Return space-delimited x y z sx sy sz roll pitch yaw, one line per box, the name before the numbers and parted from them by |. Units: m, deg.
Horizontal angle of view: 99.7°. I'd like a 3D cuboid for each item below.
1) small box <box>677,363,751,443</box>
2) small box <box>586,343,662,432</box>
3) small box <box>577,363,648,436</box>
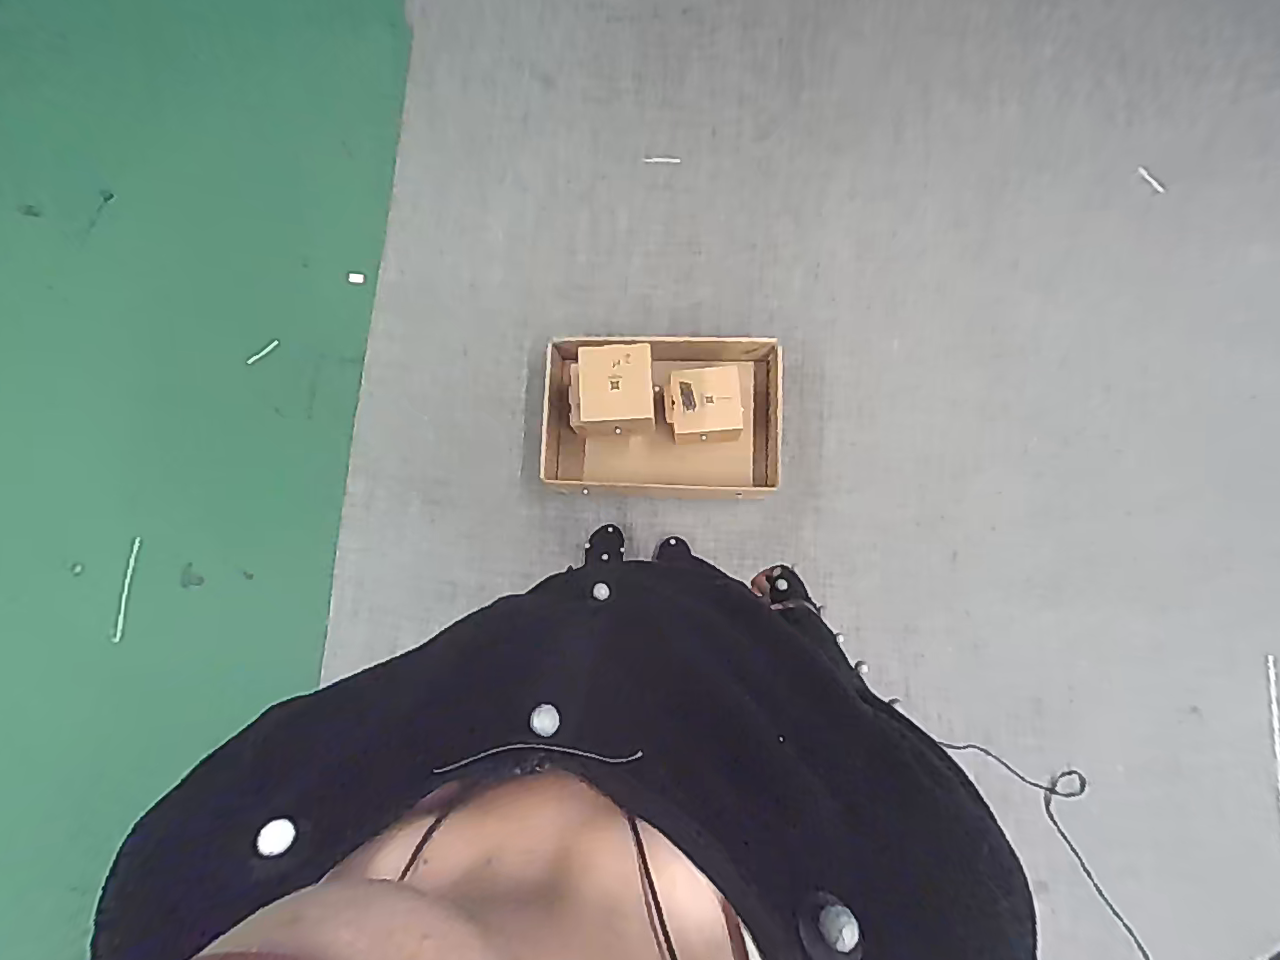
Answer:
small box | 0.194 -0.198 1.437 0.179 0.176 0.168 -5 83 5
small box | -0.034 -0.214 1.298 0.168 0.176 0.179 -3 84 3
small box | -0.068 -0.215 1.465 0.179 0.176 0.168 -1 84 4
